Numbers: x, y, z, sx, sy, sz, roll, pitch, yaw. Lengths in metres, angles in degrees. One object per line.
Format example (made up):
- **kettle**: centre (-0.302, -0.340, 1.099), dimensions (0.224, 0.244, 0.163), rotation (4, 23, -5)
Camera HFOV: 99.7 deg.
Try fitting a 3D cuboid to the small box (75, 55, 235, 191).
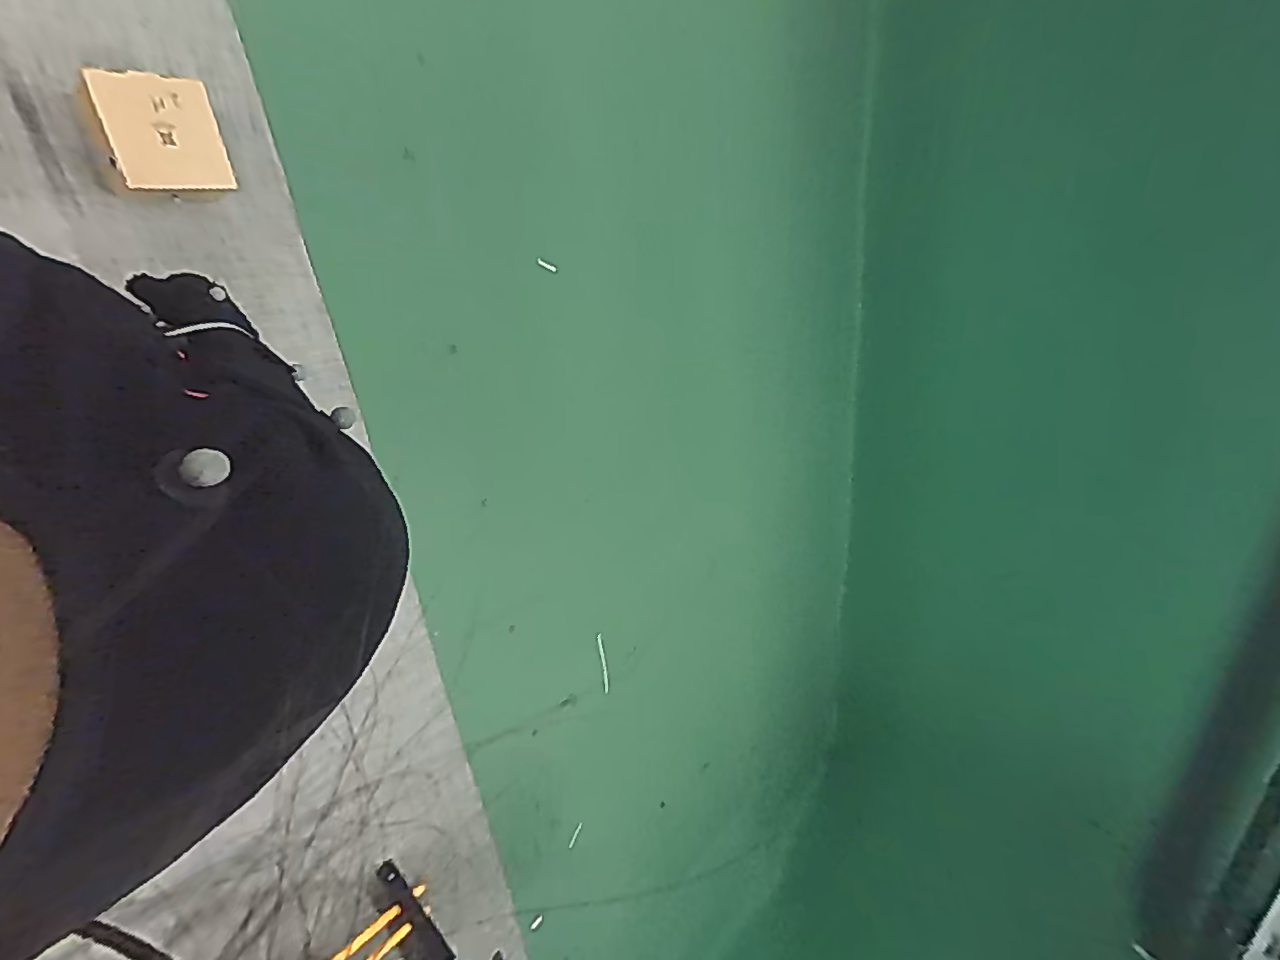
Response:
- **small box**: centre (-0.884, -0.637, 0.990), dimensions (0.168, 0.176, 0.179), rotation (-27, 122, -41)
